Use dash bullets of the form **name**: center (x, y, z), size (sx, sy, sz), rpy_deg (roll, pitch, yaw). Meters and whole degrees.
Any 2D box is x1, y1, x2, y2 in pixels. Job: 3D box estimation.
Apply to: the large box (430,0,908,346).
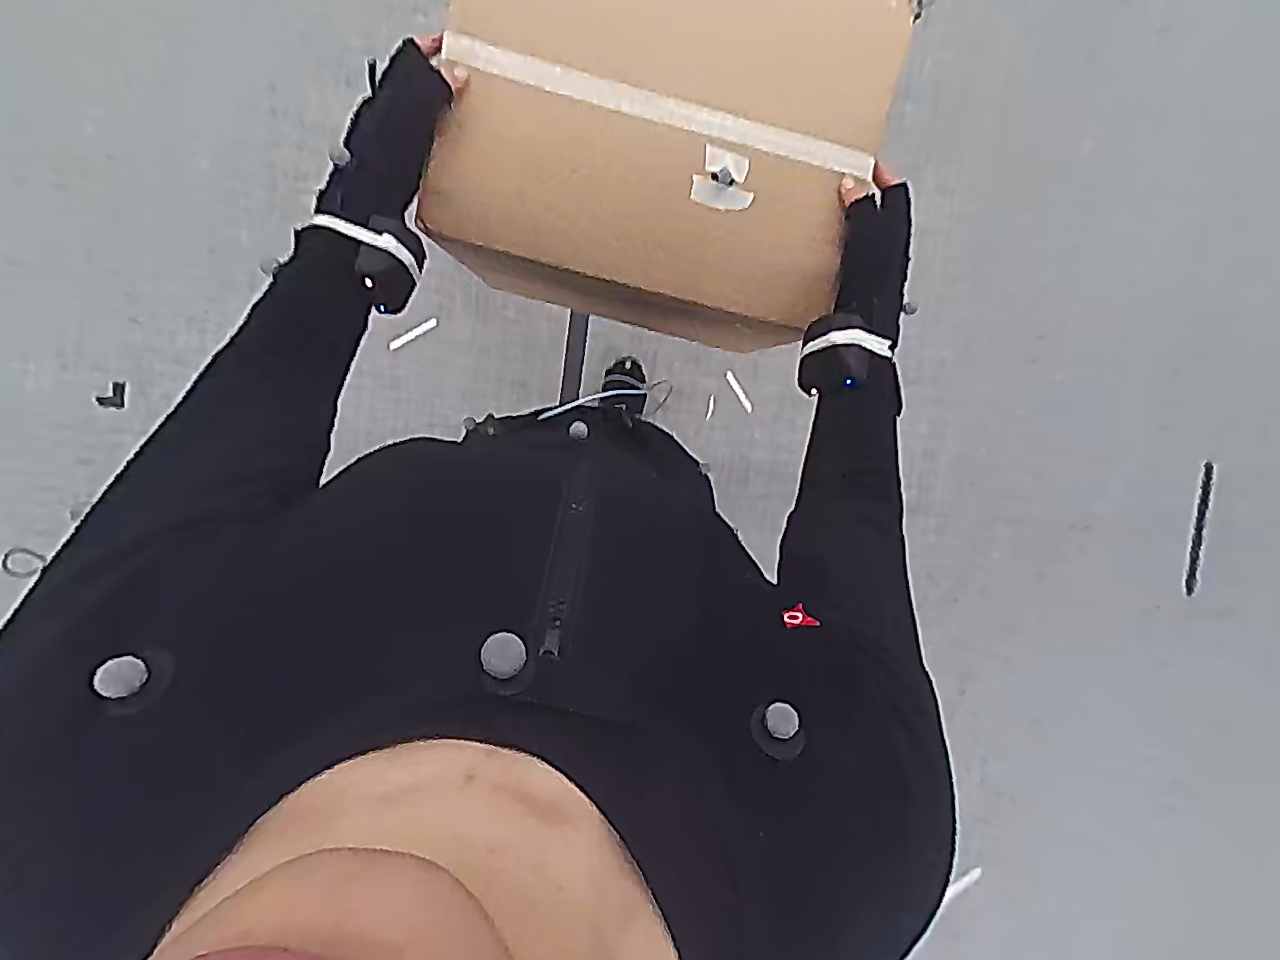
- **large box**: center (0.014, -0.366, 0.650), size (0.408, 0.320, 0.320), rpy_deg (13, 100, -6)
